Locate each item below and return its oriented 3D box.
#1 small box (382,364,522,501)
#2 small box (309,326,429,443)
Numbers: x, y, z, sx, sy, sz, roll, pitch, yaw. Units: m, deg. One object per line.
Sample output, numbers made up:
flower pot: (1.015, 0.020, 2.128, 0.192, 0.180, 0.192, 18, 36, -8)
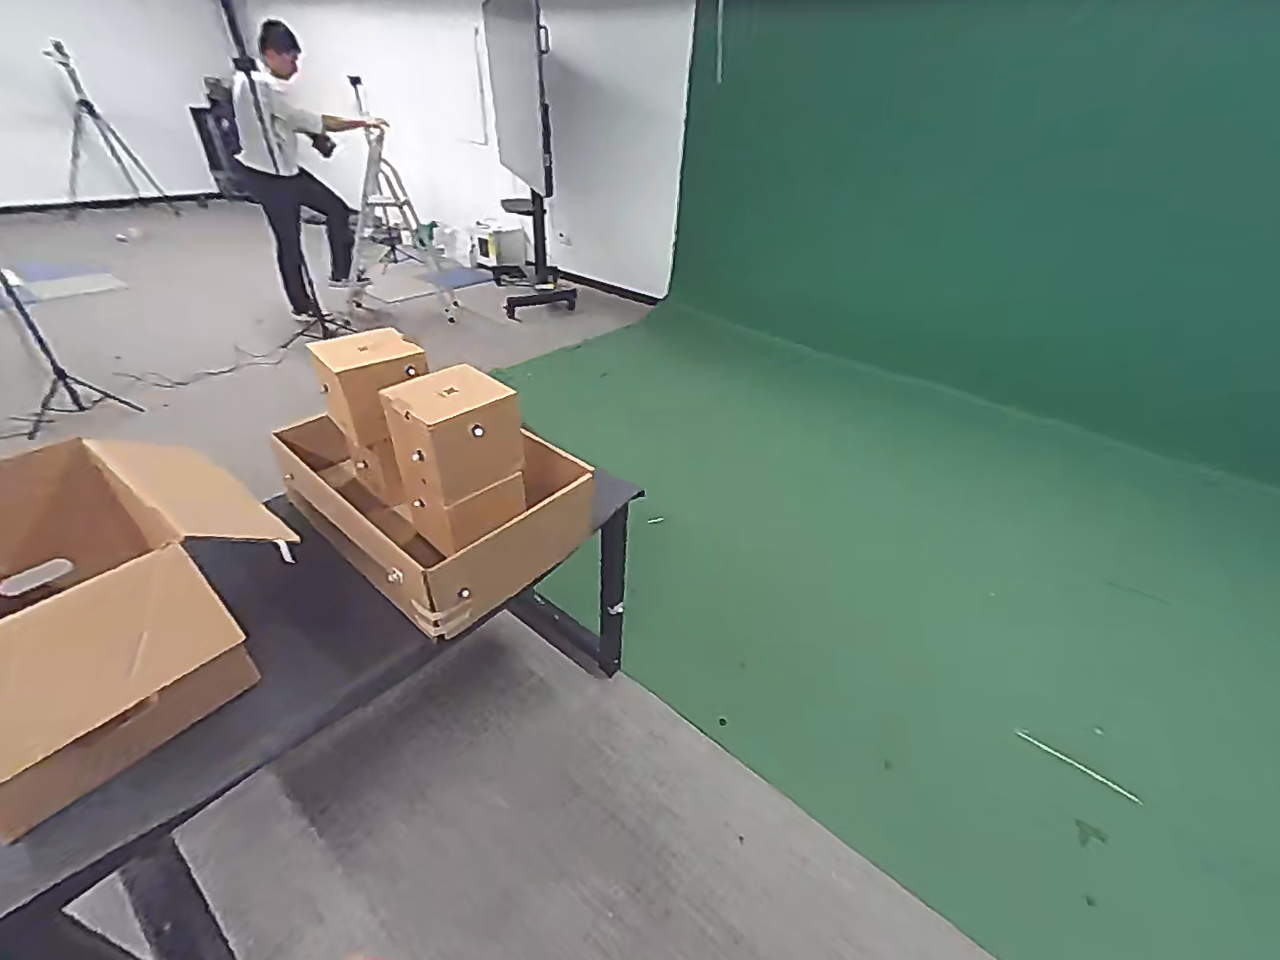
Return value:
small box: (-0.334, -0.088, 0.989, 0.168, 0.176, 0.179, 31, 44, 31)
small box: (-0.544, -0.199, 1.119, 0.179, 0.176, 0.168, -26, 47, -36)
